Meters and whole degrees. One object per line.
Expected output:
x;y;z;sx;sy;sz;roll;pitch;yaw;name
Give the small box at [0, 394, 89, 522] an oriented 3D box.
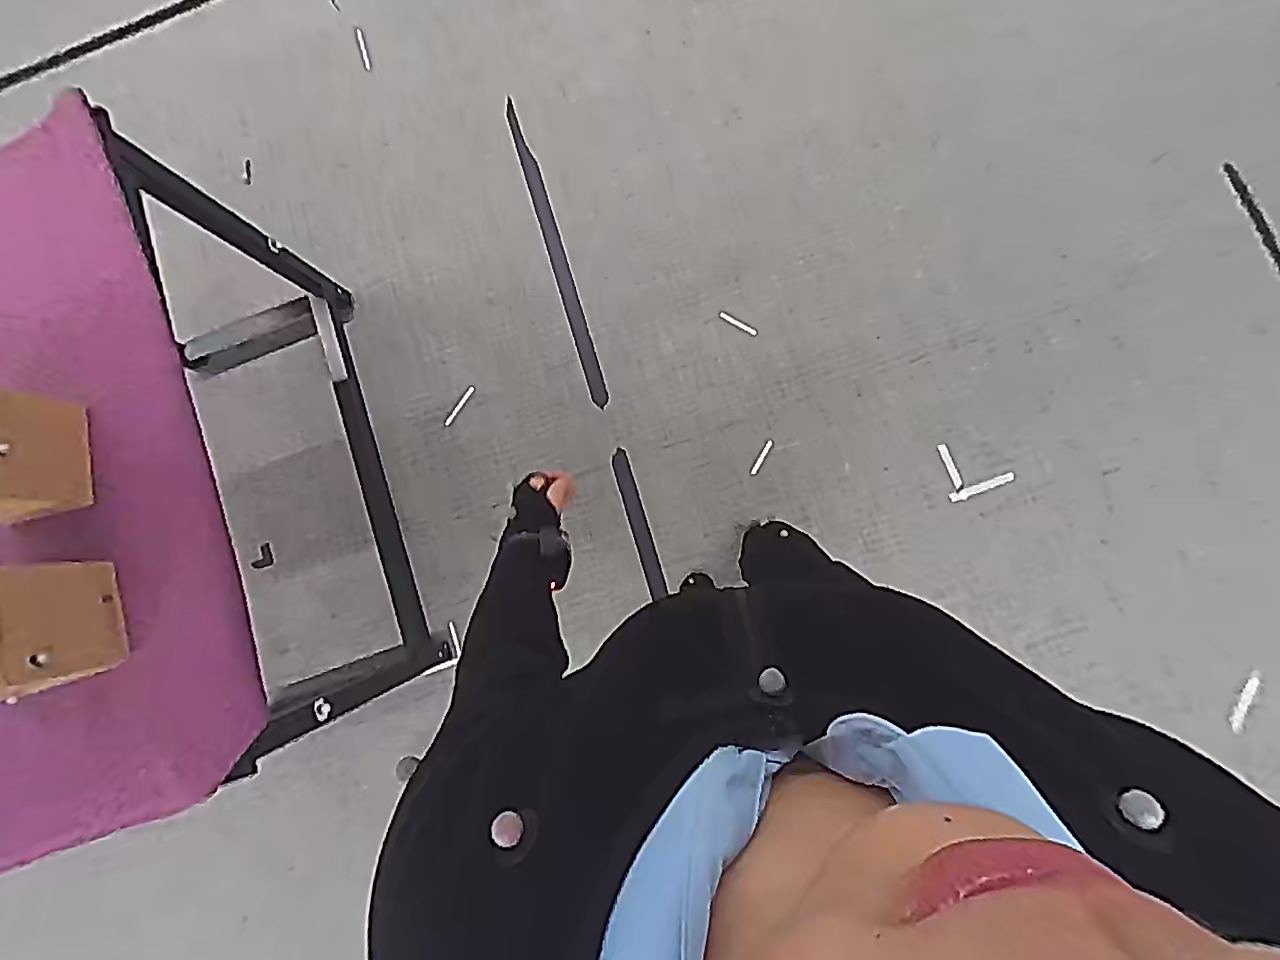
-1.004;-0.032;0.827;0.168;0.176;0.179;-11;82;4;small box
